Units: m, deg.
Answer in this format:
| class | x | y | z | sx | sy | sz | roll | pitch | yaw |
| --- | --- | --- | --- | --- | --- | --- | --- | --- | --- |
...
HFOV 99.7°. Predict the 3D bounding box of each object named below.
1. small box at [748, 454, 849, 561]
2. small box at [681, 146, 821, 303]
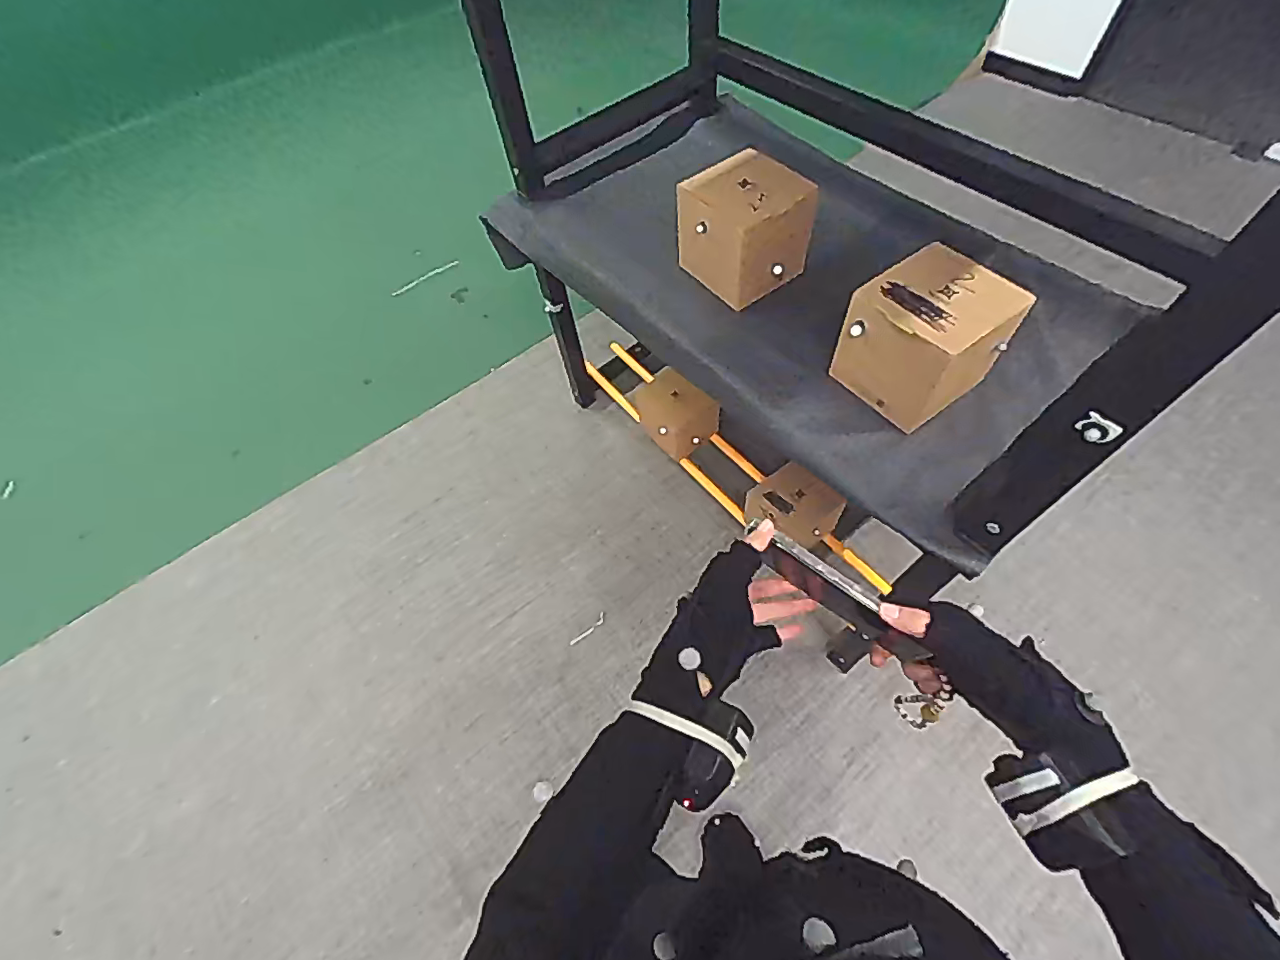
| class | x | y | z | sx | sy | sz | roll | pitch | yaw |
| --- | --- | --- | --- | --- | --- | --- | --- | --- | --- |
| small box | 0.389 | 0.076 | 1.360 | 0.179 | 0.176 | 0.168 | -33 | 62 | -13 |
| small box | 0.189 | -0.453 | 0.969 | 0.168 | 0.176 | 0.179 | -33 | 61 | -13 |
